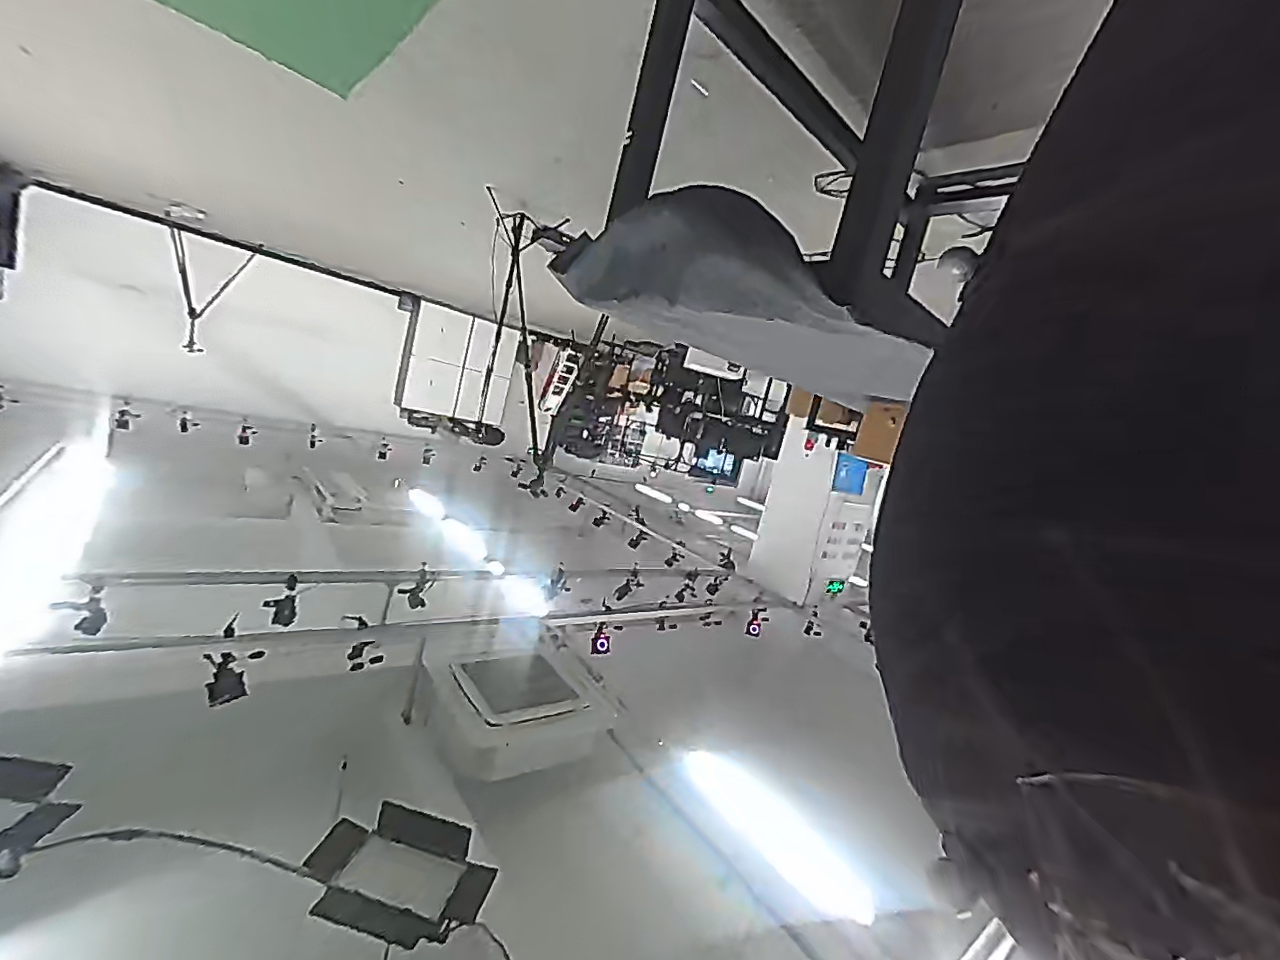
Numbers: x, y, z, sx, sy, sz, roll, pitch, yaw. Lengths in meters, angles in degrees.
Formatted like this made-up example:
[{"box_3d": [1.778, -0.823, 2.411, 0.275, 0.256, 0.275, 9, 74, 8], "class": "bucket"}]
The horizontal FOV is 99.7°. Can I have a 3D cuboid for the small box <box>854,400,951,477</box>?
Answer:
[{"box_3d": [0.743, -0.119, 1.525, 0.179, 0.176, 0.168, 9, -172, -39], "class": "small box"}]
